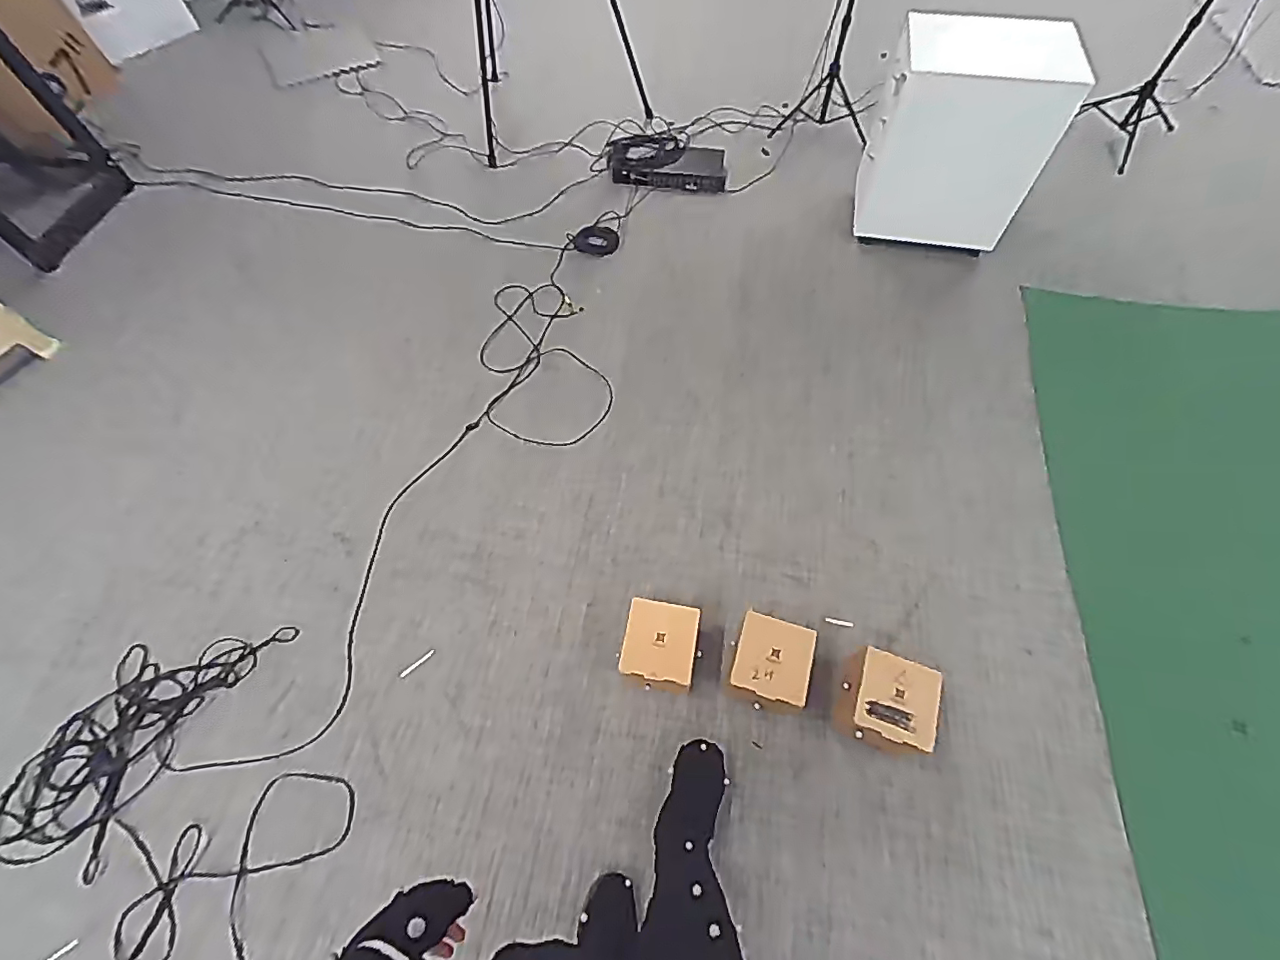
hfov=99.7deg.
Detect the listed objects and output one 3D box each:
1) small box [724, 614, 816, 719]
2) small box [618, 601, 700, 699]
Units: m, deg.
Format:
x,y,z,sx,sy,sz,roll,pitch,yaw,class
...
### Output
x,y,z,sx,sy,sz,roll,pitch,yaw,class
0.301,0.443,1.277,0.168,0.176,0.179,15,62,11,small box
0.047,0.413,1.305,0.168,0.176,0.179,9,61,7,small box
